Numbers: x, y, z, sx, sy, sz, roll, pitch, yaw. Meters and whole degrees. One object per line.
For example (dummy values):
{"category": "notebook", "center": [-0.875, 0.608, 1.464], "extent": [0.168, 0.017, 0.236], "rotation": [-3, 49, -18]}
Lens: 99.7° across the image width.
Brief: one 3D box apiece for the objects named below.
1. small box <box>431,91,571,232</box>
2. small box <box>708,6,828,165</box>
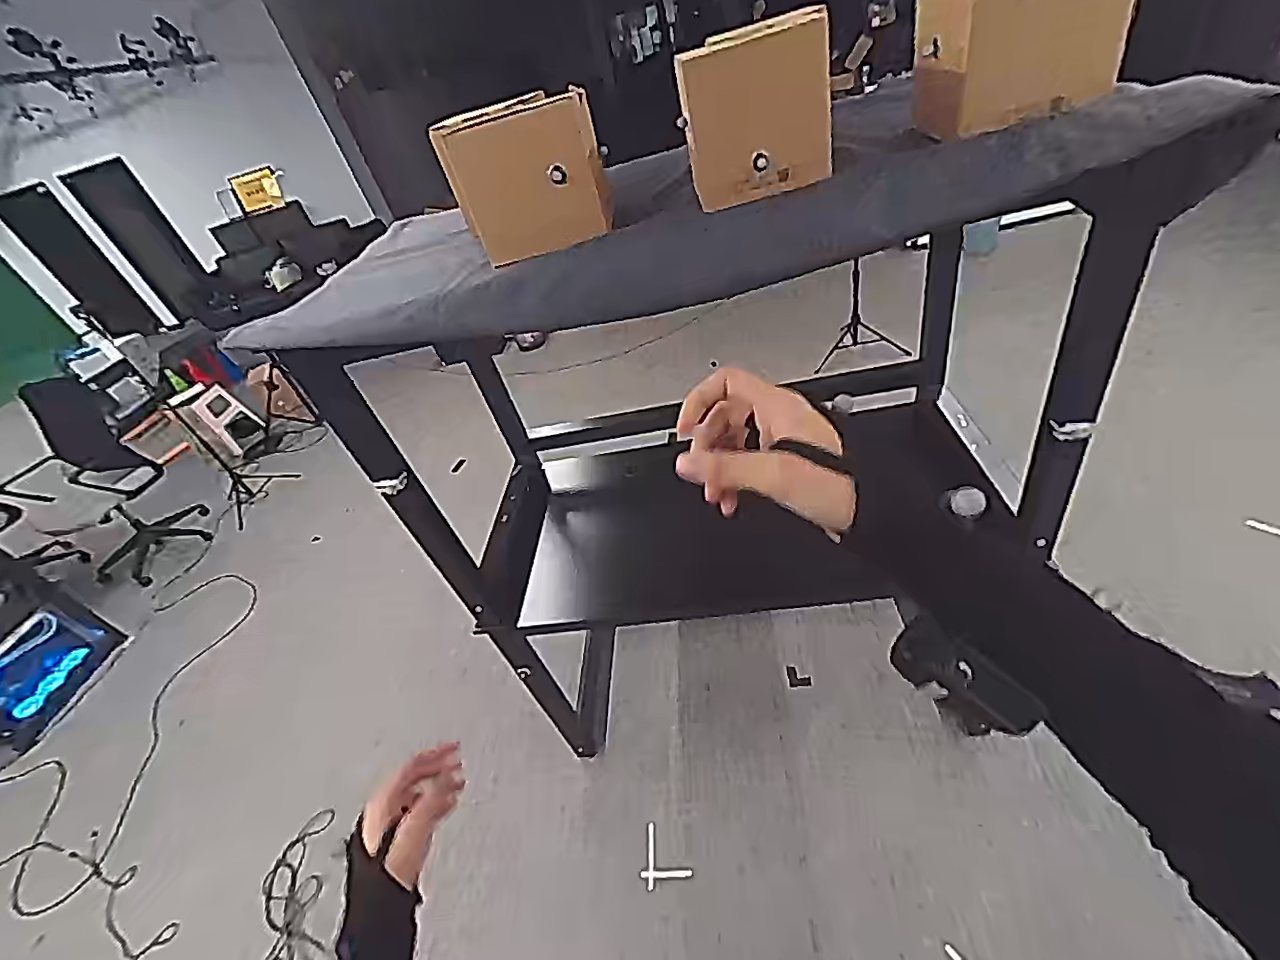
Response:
{"category": "small box", "center": [-0.231, -0.556, 0.954], "extent": [0.168, 0.176, 0.179], "rotation": [-9, 39, 11]}
{"category": "small box", "center": [0.202, -0.629, 0.871], "extent": [0.168, 0.176, 0.179], "rotation": [-9, 39, 12]}
